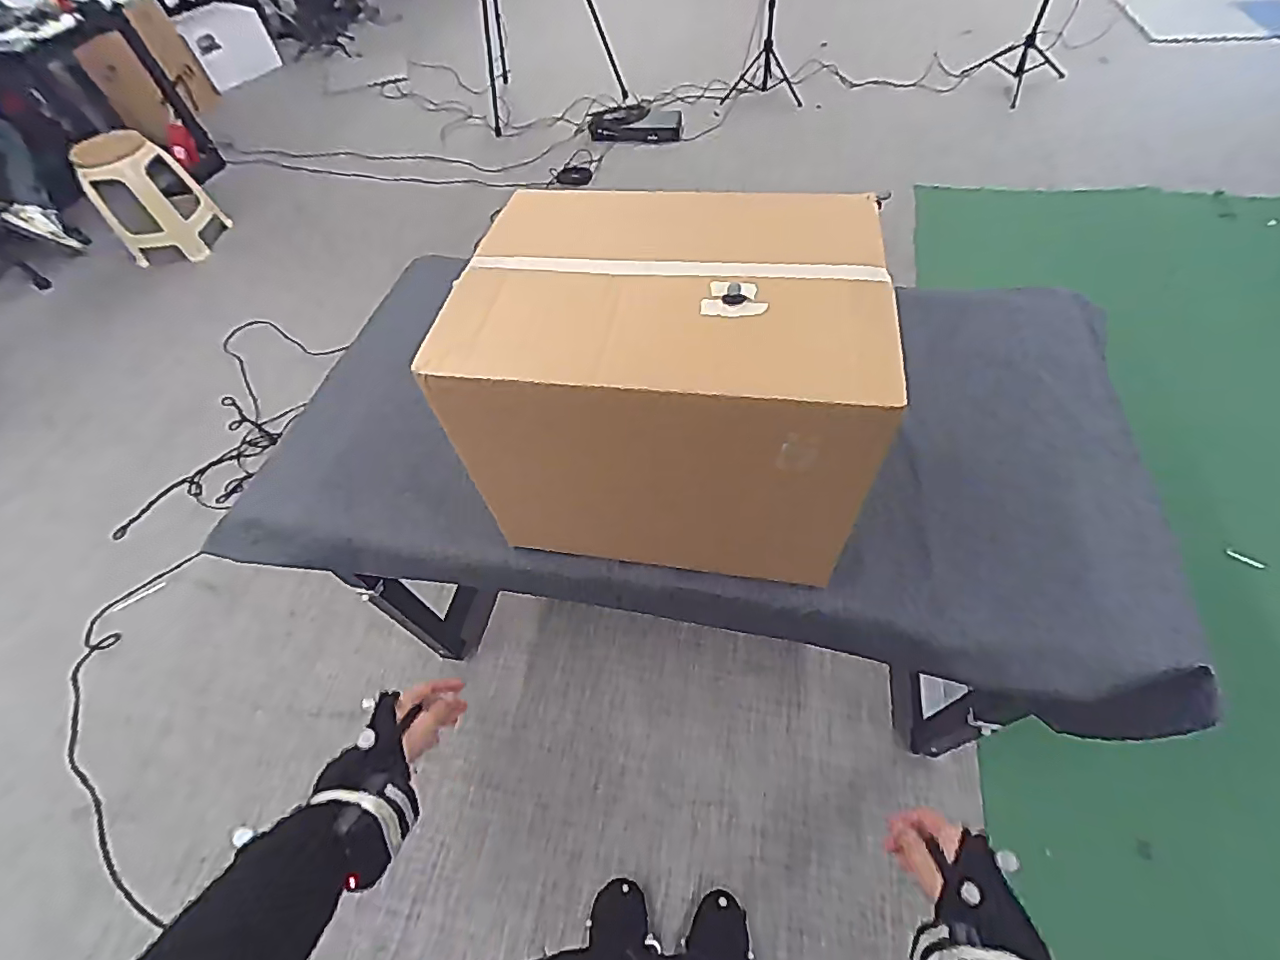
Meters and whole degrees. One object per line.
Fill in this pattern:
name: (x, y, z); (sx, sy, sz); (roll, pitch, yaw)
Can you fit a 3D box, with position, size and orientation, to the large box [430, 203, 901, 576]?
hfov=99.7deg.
large box: (0.040, -0.106, 0.651); (0.408, 0.320, 0.320); (6, 55, 9)
